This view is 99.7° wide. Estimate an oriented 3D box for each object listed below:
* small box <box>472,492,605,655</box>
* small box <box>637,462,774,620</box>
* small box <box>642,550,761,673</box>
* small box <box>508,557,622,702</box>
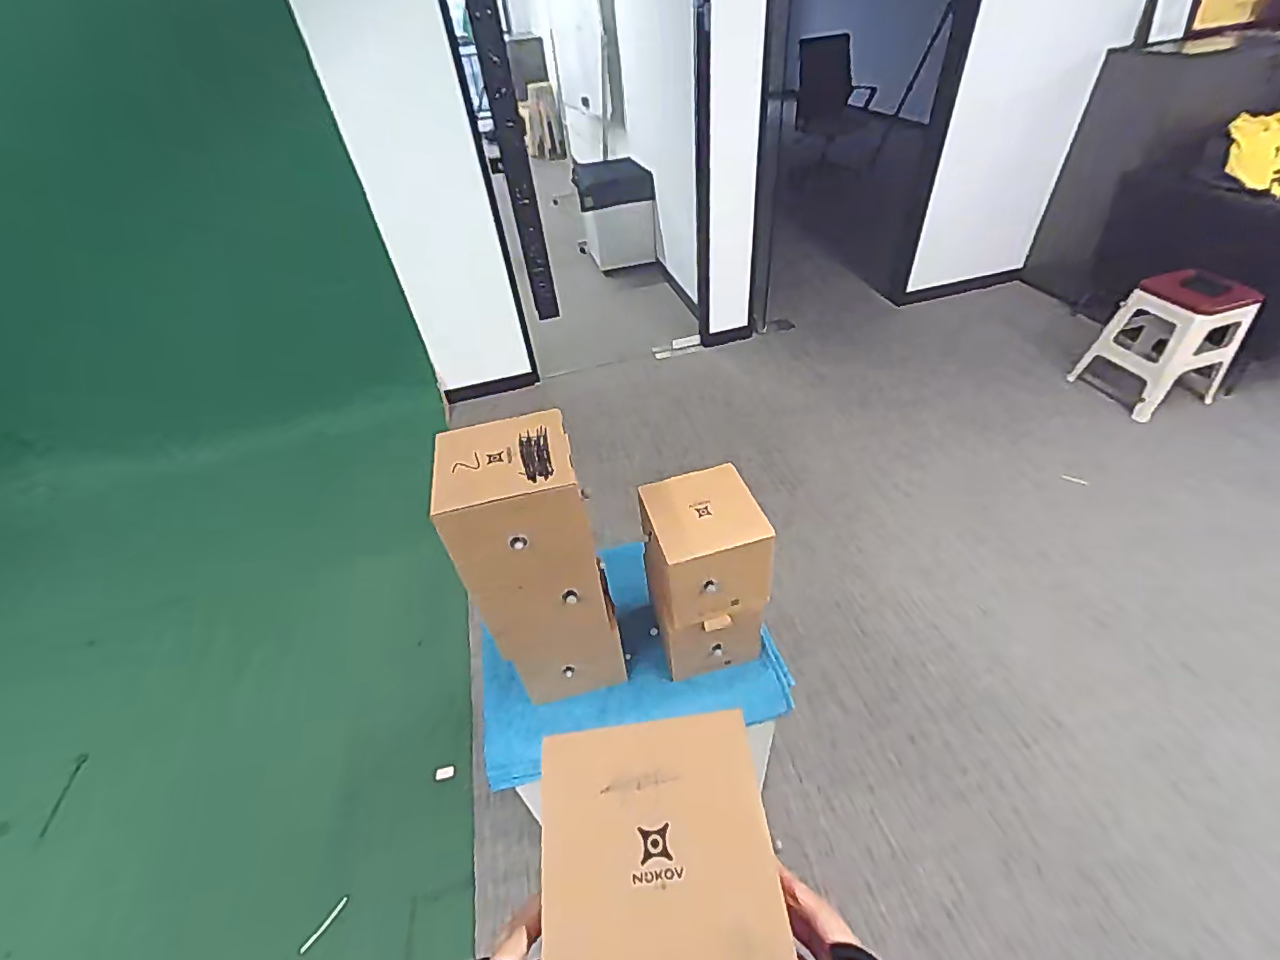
[{"bbox_3d":[-0.154,0.147,0.848,0.179,0.176,0.168,-12,42,-7],"label":"small box"},{"bbox_3d":[0.102,0.103,0.869,0.168,0.176,0.179,-14,41,-8],"label":"small box"},{"bbox_3d":[0.107,0.226,0.976,0.168,0.176,0.179,-12,43,-7],"label":"small box"},{"bbox_3d":[-0.133,0.265,0.960,0.179,0.176,0.168,-13,42,-7],"label":"small box"}]
